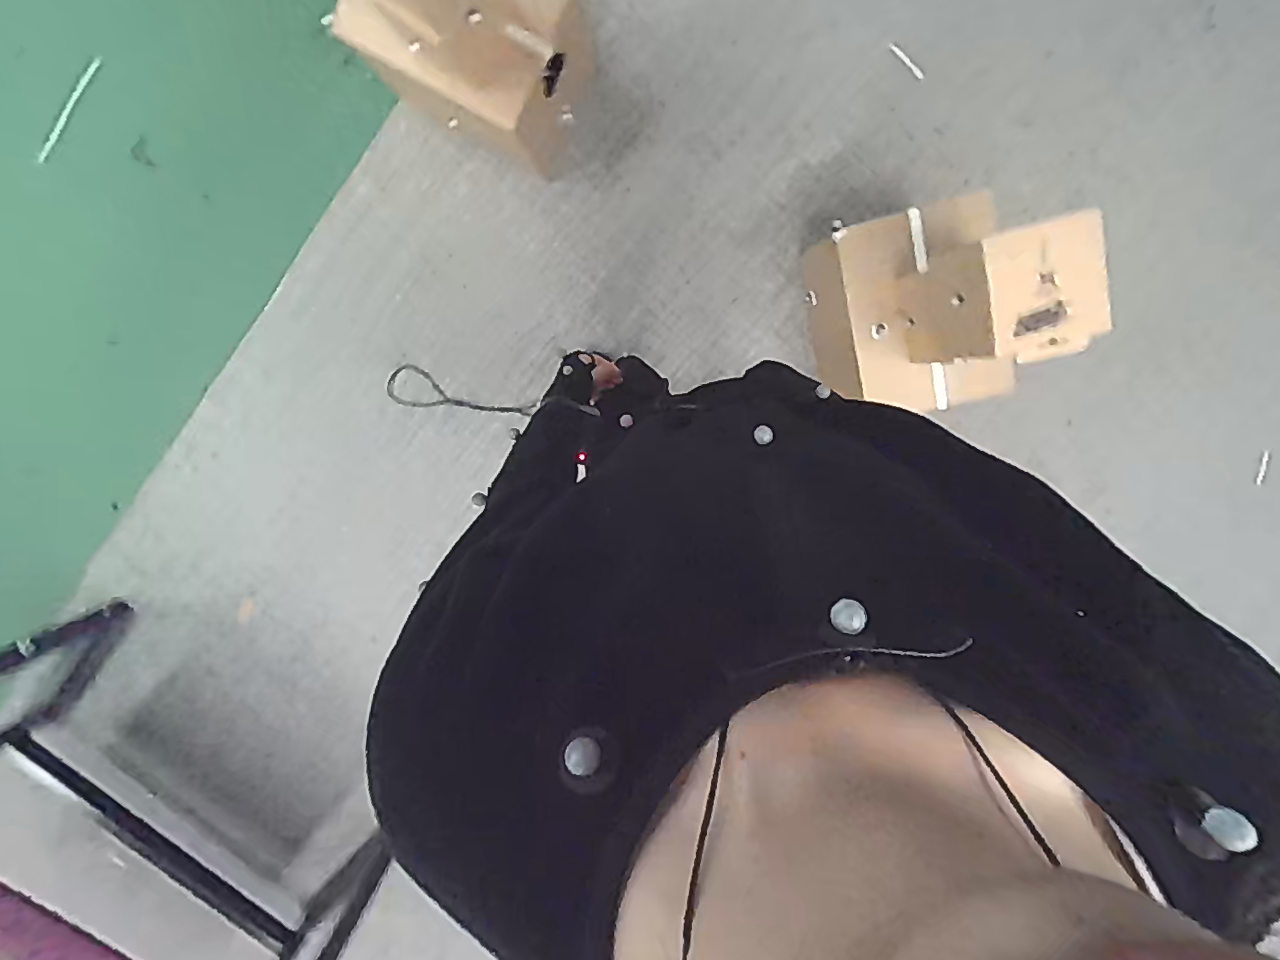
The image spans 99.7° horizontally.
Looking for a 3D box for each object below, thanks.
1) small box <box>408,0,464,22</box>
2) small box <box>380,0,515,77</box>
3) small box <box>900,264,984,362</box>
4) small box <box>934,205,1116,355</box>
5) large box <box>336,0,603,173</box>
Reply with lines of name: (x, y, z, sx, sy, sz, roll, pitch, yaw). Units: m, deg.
small box: (-0.341, -0.828, 0.780, 0.179, 0.176, 0.168, 34, 102, -6)
small box: (-0.341, -0.860, 0.939, 0.168, 0.176, 0.179, 33, 102, -5)
small box: (0.616, -0.331, 1.010, 0.168, 0.176, 0.179, -17, 102, 5)
small box: (0.592, -0.300, 0.849, 0.168, 0.176, 0.179, -13, 100, 5)
large box: (-0.337, -0.951, 1.170, 0.408, 0.320, 0.320, 28, 101, -2)
